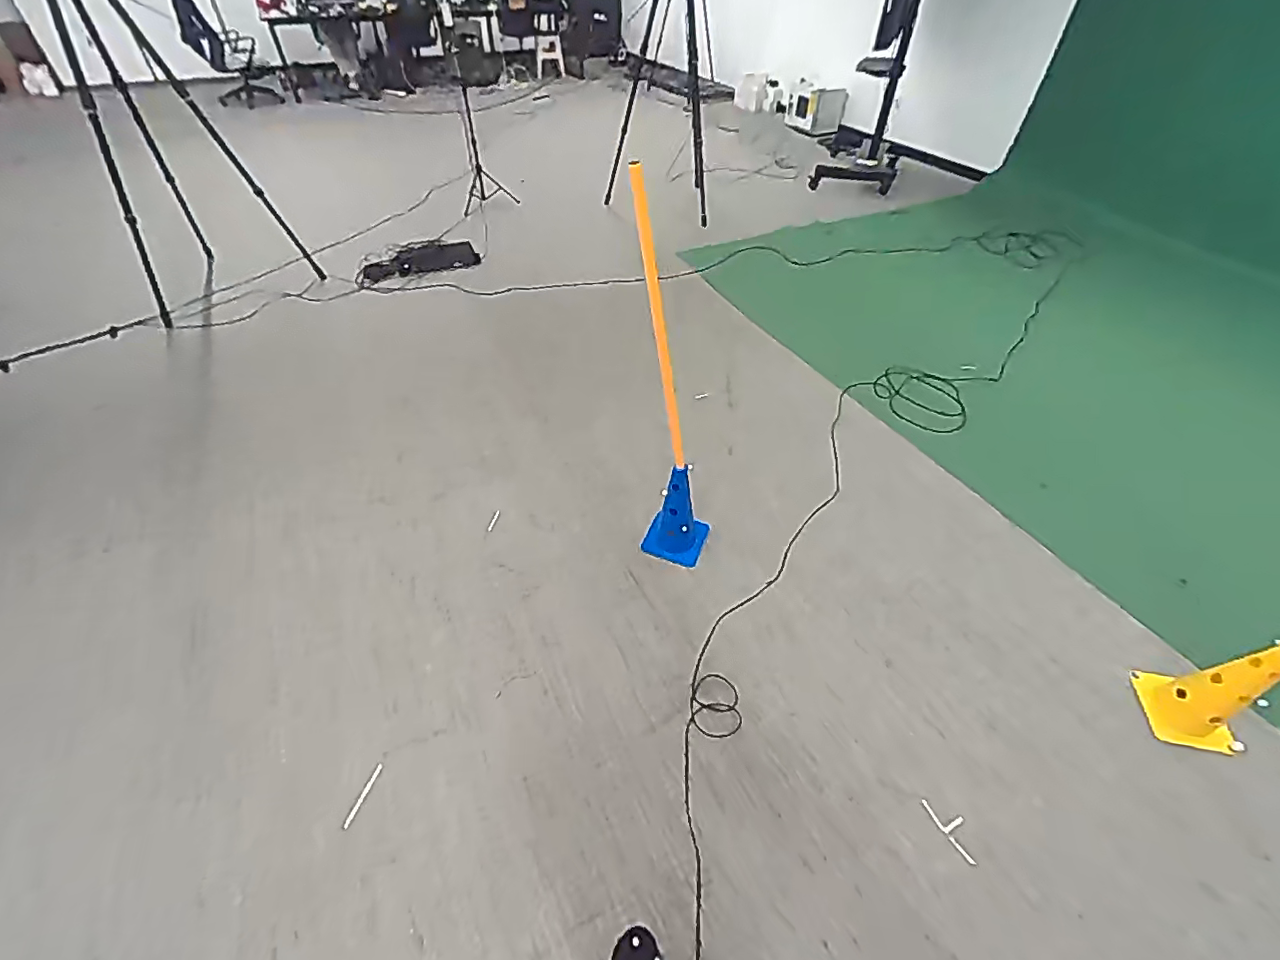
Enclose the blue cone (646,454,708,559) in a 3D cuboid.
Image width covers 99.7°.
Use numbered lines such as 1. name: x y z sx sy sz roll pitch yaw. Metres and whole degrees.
1. blue cone: 0.125 0.071 1.746 0.193 0.380 0.192 15 48 15
